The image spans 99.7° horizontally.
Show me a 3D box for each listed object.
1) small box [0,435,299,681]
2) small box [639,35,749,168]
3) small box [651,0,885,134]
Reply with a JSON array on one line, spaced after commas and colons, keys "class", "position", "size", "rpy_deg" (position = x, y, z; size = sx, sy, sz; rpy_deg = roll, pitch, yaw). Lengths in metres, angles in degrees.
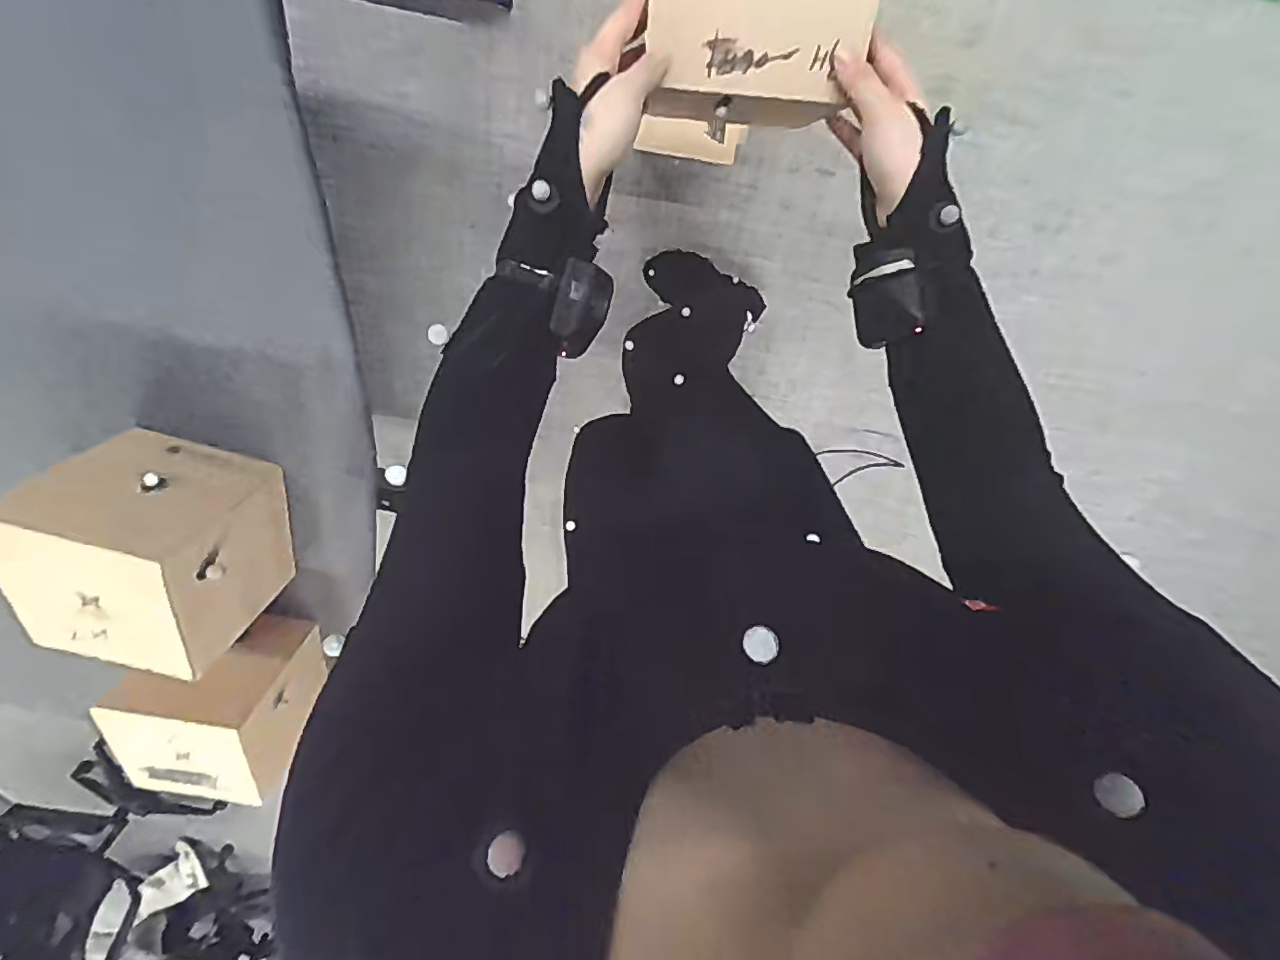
[{"class": "small box", "position": [-0.500, 0.075, 0.579], "size": [0.168, 0.176, 0.179], "rpy_deg": [16, 123, -3]}, {"class": "small box", "position": [0.101, -0.649, 0.930], "size": [0.179, 0.176, 0.168], "rpy_deg": [10, 123, 0]}, {"class": "small box", "position": [0.098, -0.406, 0.452], "size": [0.168, 0.176, 0.179], "rpy_deg": [4, 119, -2]}]
